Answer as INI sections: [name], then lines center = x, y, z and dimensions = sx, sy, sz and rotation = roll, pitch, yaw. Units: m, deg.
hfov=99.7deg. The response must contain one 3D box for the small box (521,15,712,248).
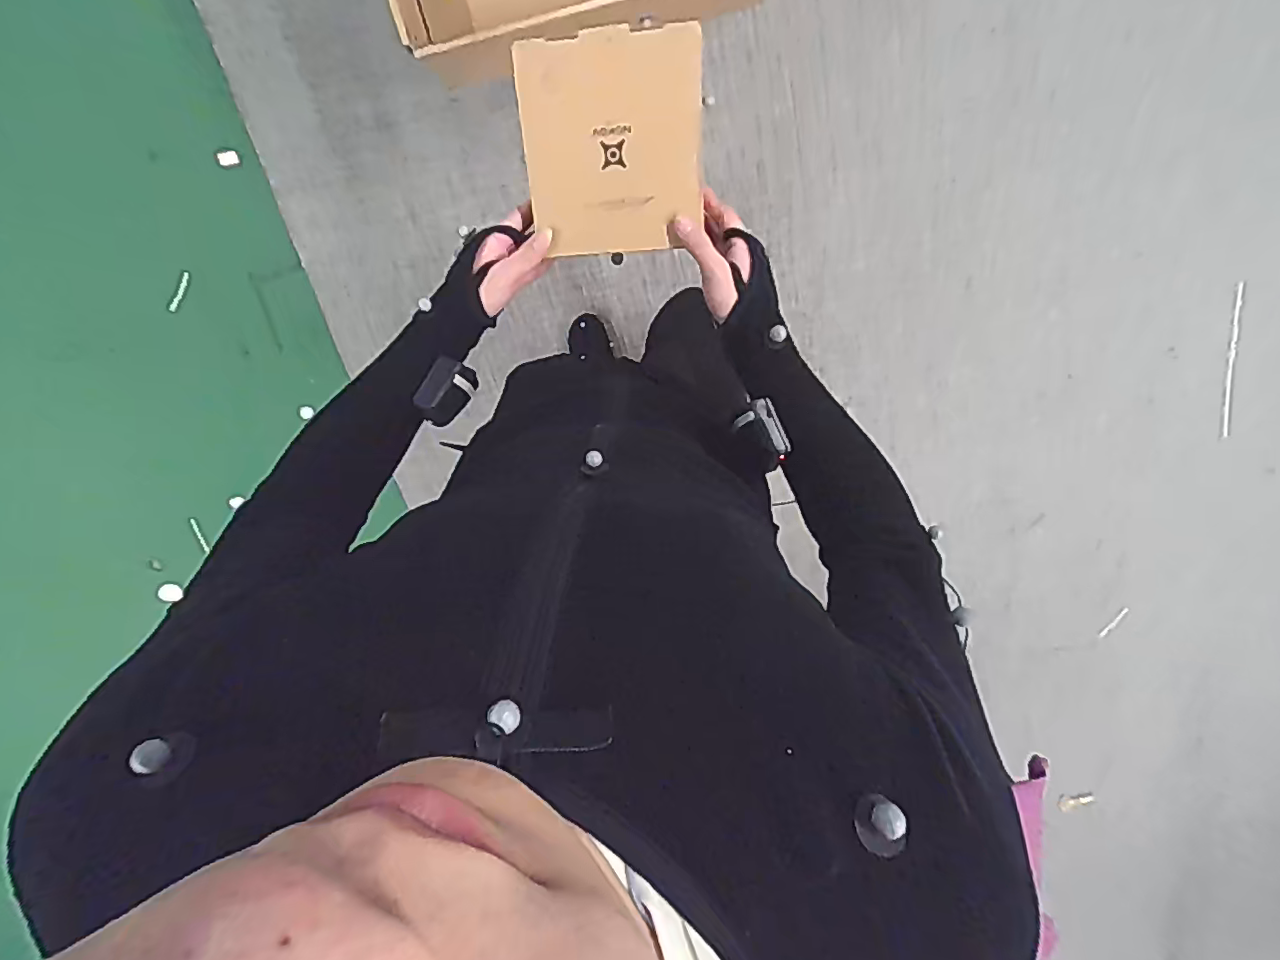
[small box]
center = -0.014, -0.340, 0.562
dimensions = 0.168, 0.176, 0.179
rotation = -1, 115, 5
